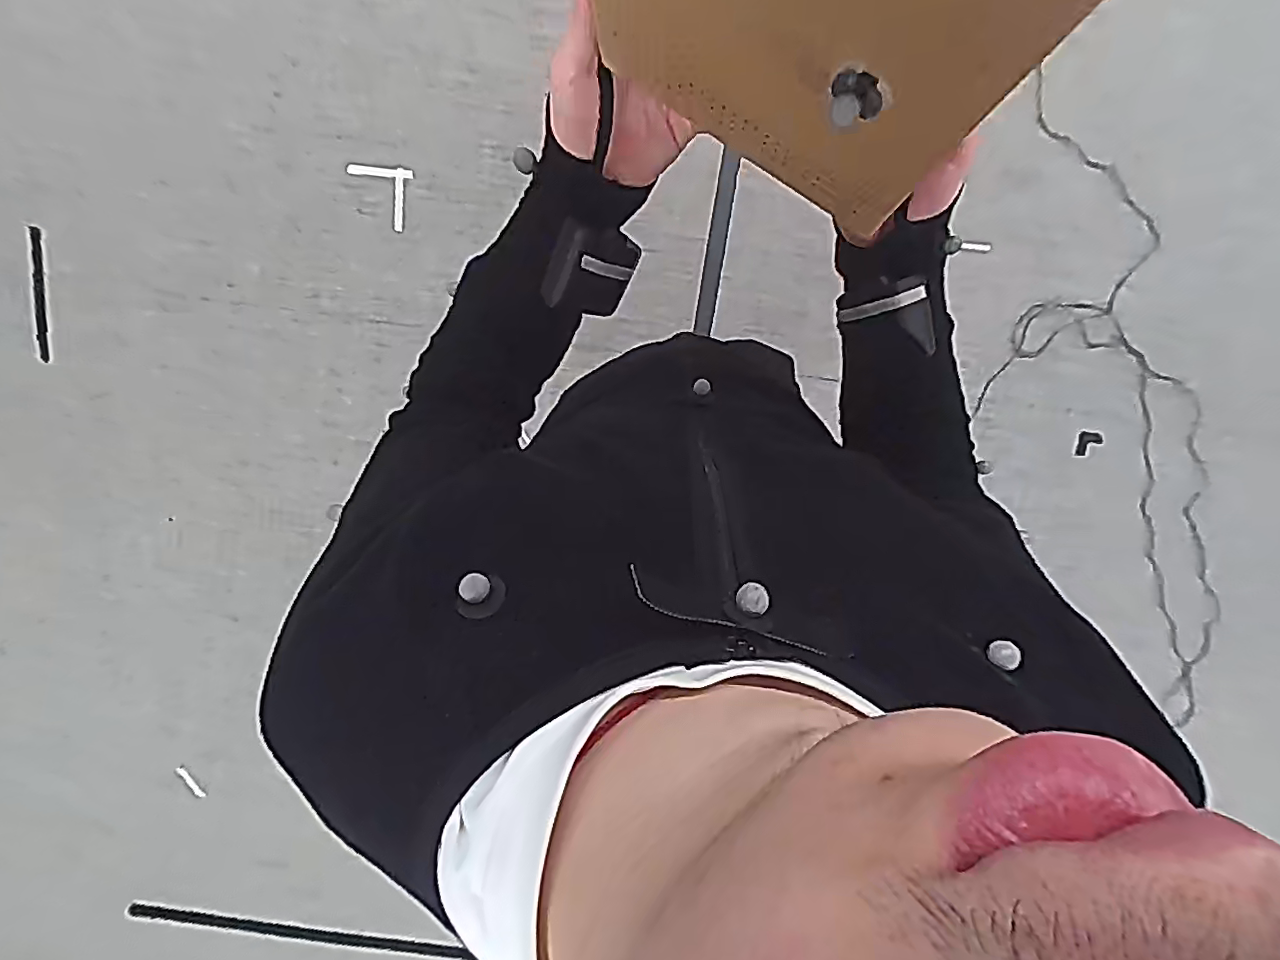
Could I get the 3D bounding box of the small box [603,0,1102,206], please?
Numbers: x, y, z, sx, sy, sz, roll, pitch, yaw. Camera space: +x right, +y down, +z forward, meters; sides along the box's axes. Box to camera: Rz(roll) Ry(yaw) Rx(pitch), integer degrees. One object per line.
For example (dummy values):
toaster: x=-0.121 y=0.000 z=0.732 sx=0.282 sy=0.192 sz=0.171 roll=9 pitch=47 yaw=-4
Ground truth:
small box: x=0.095 y=-0.245 z=0.217 sx=0.179 sy=0.176 sz=0.168 roll=33 pitch=94 yaw=0
